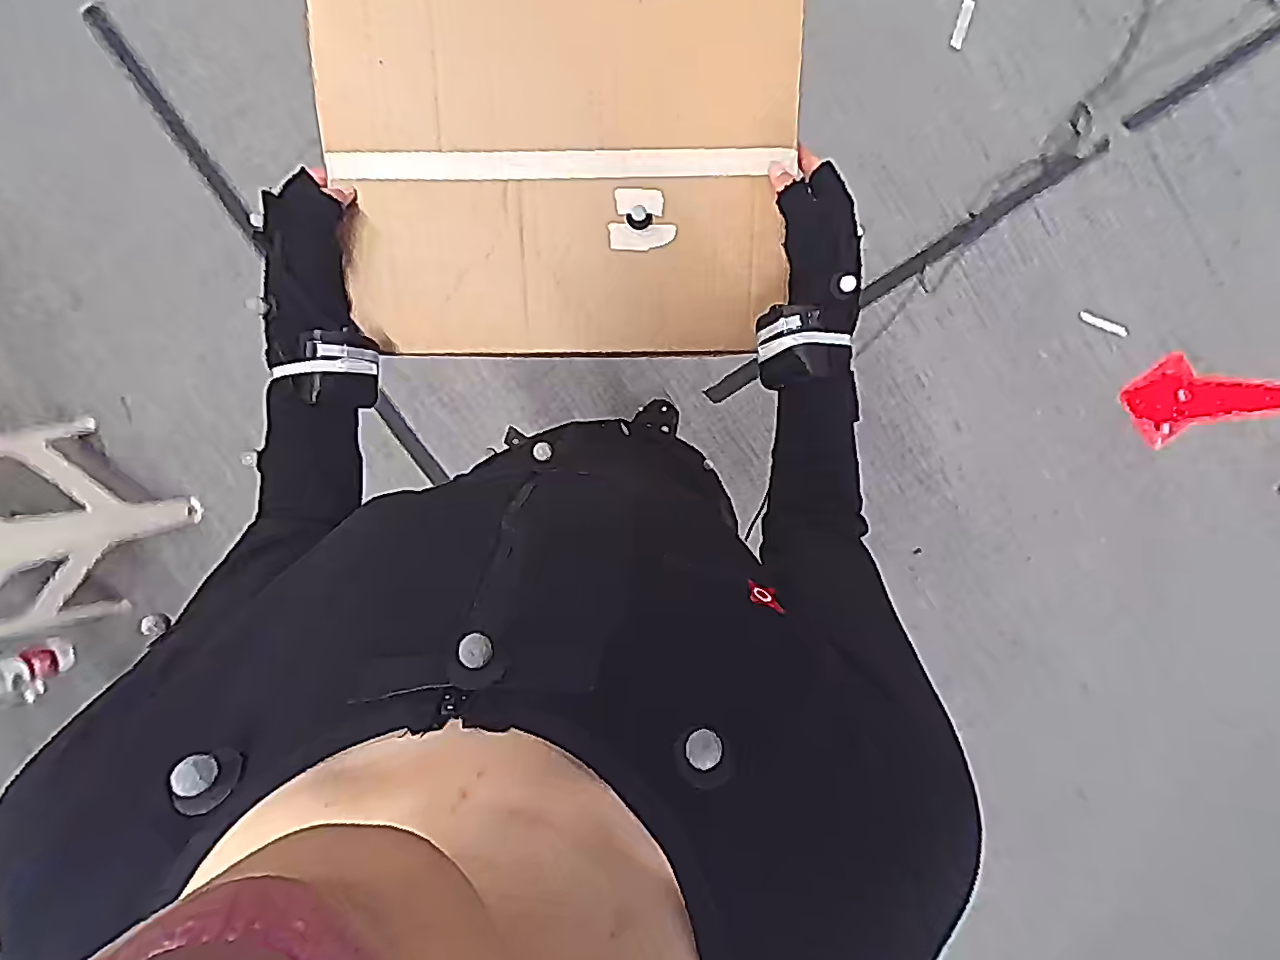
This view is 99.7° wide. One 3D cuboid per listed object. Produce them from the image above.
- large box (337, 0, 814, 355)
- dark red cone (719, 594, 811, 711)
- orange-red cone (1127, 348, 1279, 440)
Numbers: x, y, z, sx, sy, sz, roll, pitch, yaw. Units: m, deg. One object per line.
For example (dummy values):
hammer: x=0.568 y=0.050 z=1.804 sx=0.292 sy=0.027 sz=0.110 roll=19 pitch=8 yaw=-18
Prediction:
large box: x=-0.057 y=-0.307 z=0.618 sx=0.408 sy=0.320 sz=0.320 roll=1 pitch=103 yaw=-1
dark red cone: x=0.347 y=0.454 z=1.345 sx=0.202 sy=0.394 sz=0.201 roll=-28 pitch=96 yaw=2
orange-red cone: x=1.463 y=-0.214 z=1.316 sx=0.199 sy=0.360 sz=0.198 roll=-37 pitch=98 yaw=2
